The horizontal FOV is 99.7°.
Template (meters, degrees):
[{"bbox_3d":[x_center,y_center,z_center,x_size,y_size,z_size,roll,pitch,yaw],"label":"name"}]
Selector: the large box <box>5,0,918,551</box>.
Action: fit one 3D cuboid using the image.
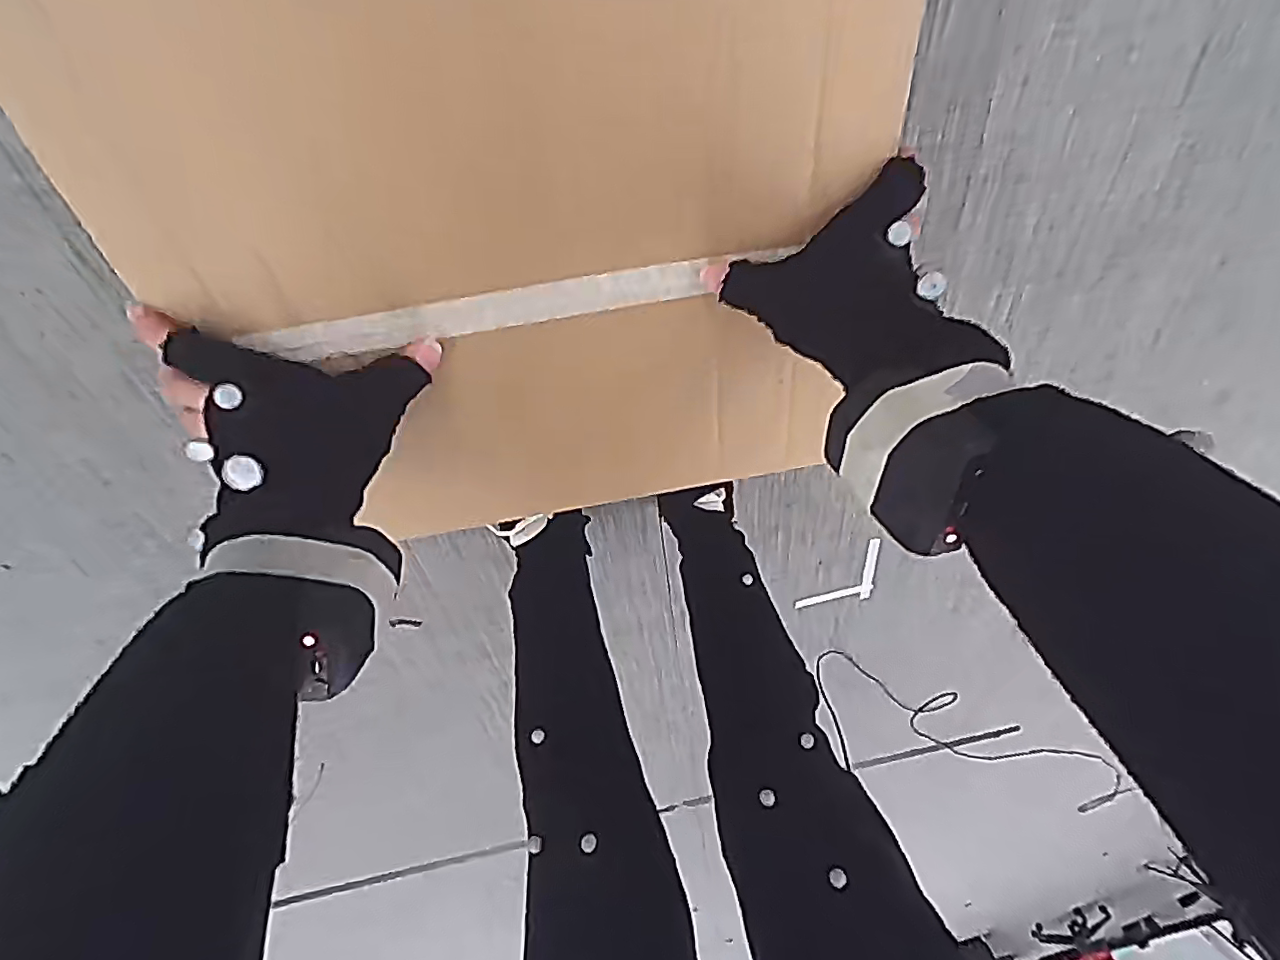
[{"bbox_3d":[-0.075,-0.191,0.436,0.408,0.320,0.320,-10,130,-4],"label":"large box"}]
